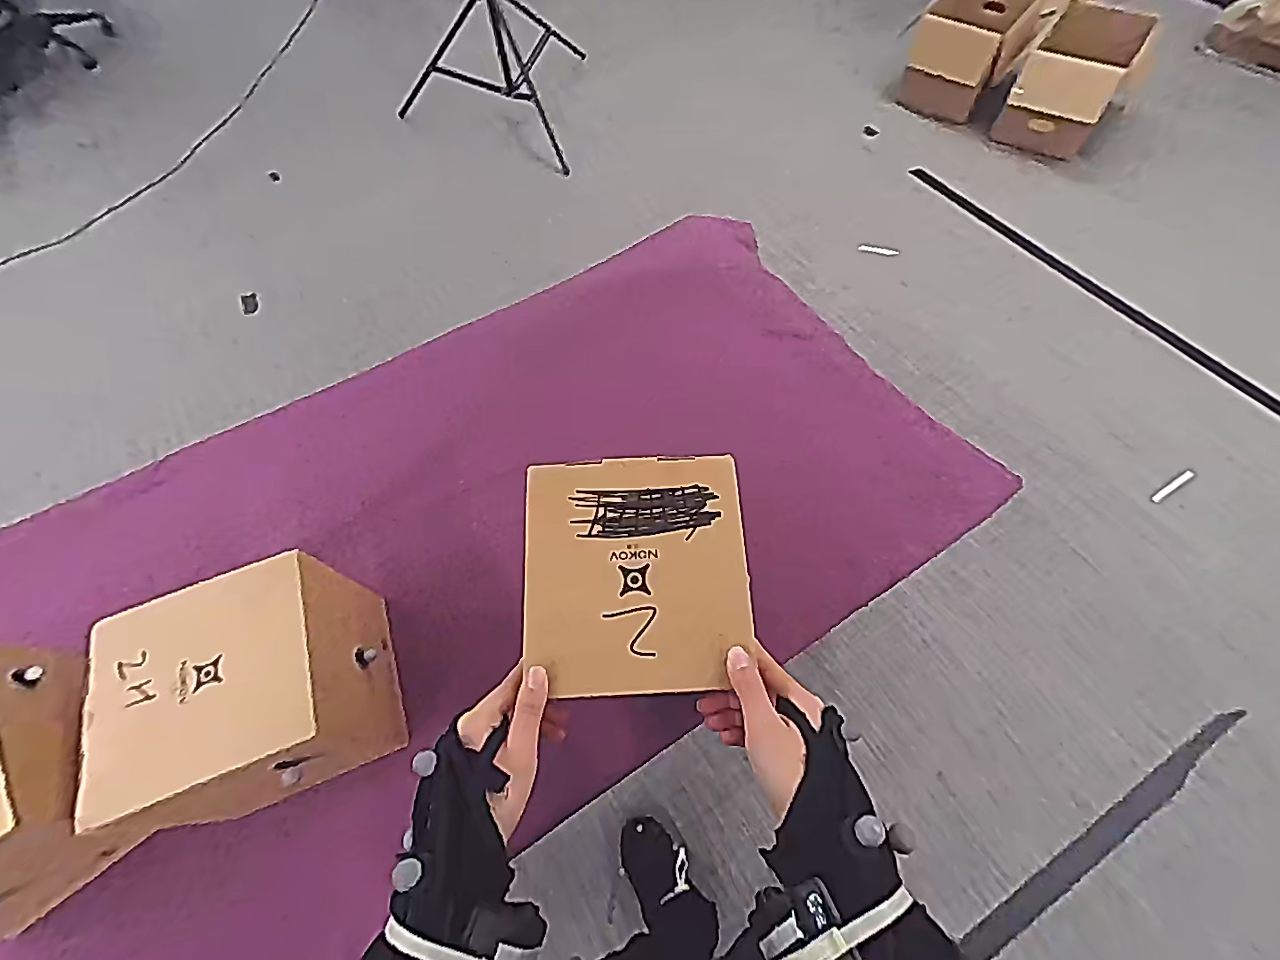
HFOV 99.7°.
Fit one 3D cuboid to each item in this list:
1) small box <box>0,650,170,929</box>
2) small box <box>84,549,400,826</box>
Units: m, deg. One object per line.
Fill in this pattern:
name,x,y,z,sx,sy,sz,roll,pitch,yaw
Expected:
small box,-0.562,0.276,0.479,0.168,0.176,0.179,-38,67,-15
small box,-0.347,0.193,0.508,0.179,0.176,0.168,-22,62,-8
